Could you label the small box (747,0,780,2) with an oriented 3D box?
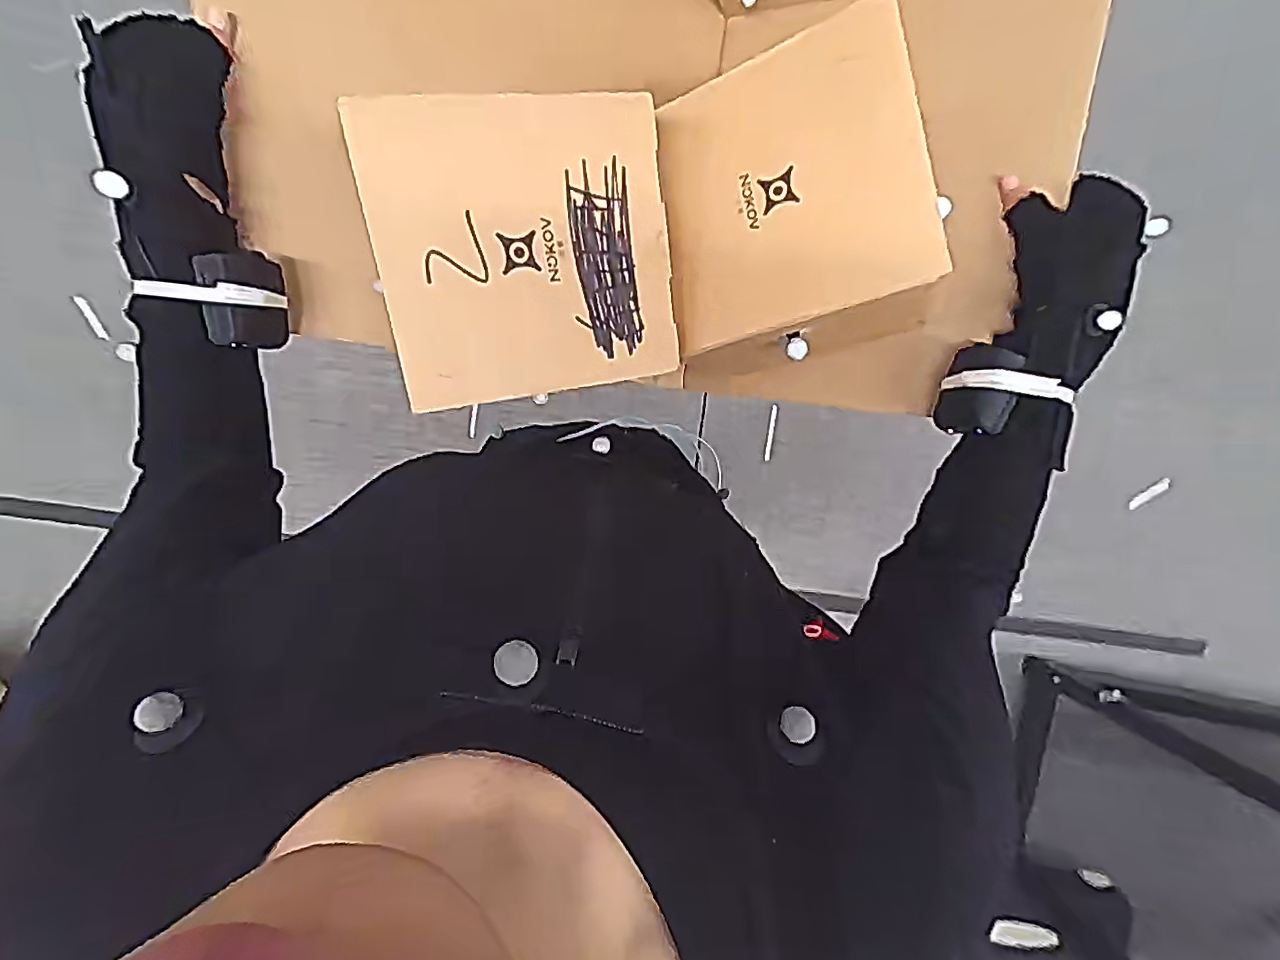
[{"bbox_3d":[0.134,-0.491,0.384,0.168,0.176,0.179,13,98,24],"label":"small box"}]
